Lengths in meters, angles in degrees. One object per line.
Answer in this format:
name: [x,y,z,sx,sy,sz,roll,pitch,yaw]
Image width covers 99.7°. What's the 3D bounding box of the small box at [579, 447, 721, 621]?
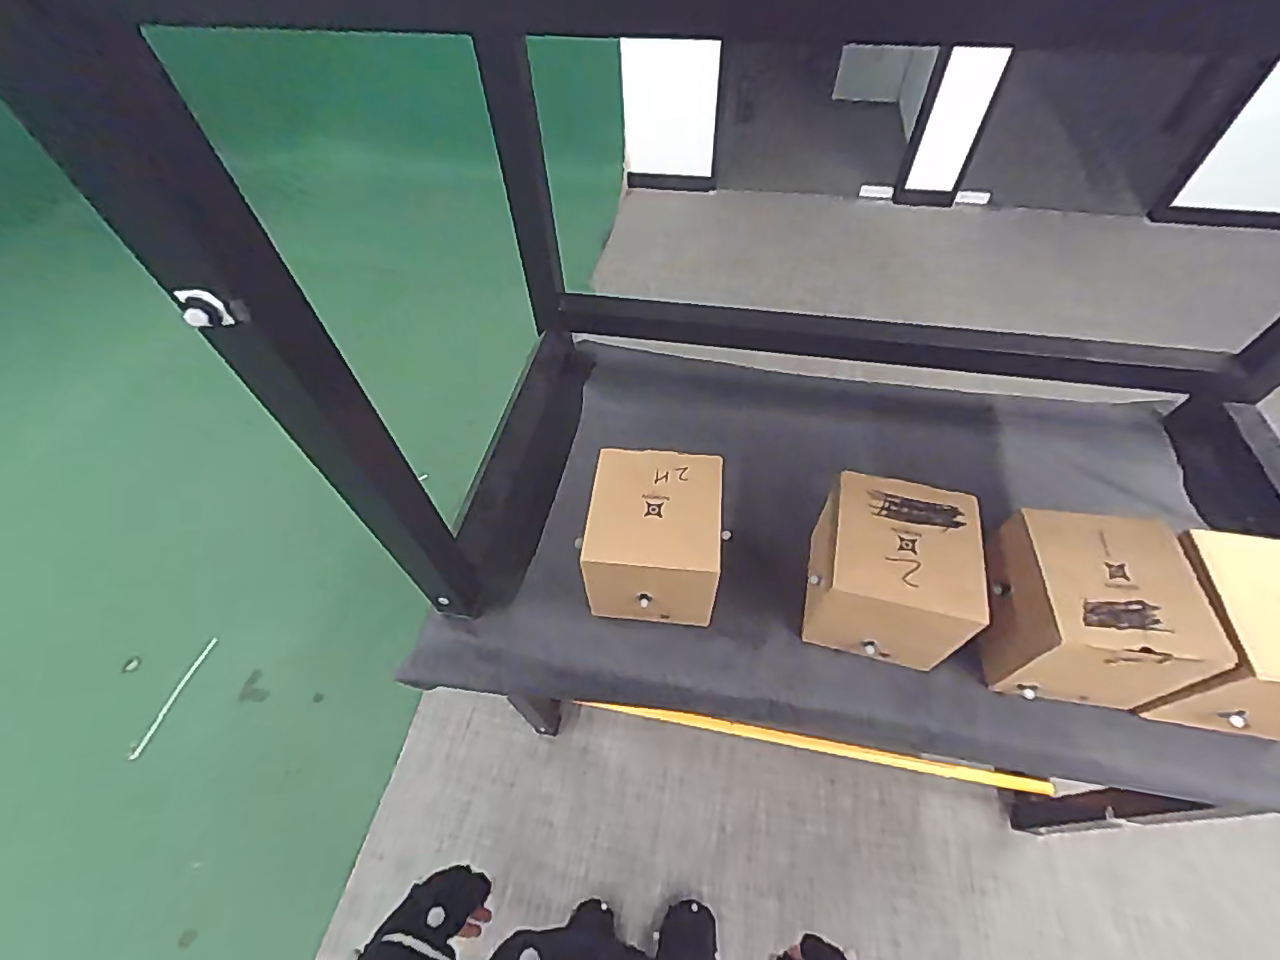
small box: [0.020,0.078,0.741,0.168,0.176,0.179,4,53,5]
